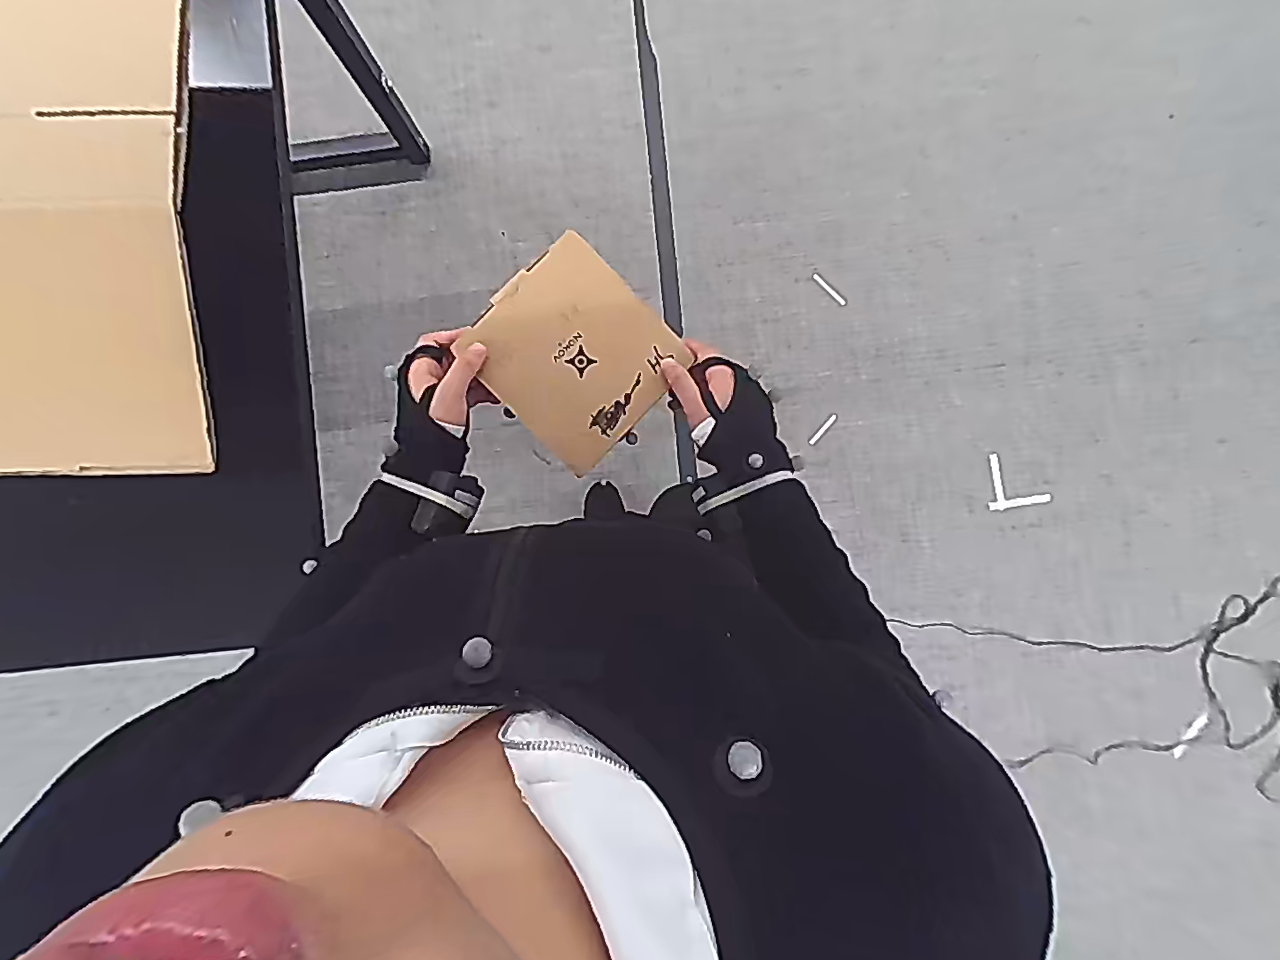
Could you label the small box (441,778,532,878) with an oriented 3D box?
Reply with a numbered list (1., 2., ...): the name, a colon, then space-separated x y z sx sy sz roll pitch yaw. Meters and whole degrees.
1. small box: -0.394 0.910 1.407 0.179 0.176 0.168 -10 89 -1
